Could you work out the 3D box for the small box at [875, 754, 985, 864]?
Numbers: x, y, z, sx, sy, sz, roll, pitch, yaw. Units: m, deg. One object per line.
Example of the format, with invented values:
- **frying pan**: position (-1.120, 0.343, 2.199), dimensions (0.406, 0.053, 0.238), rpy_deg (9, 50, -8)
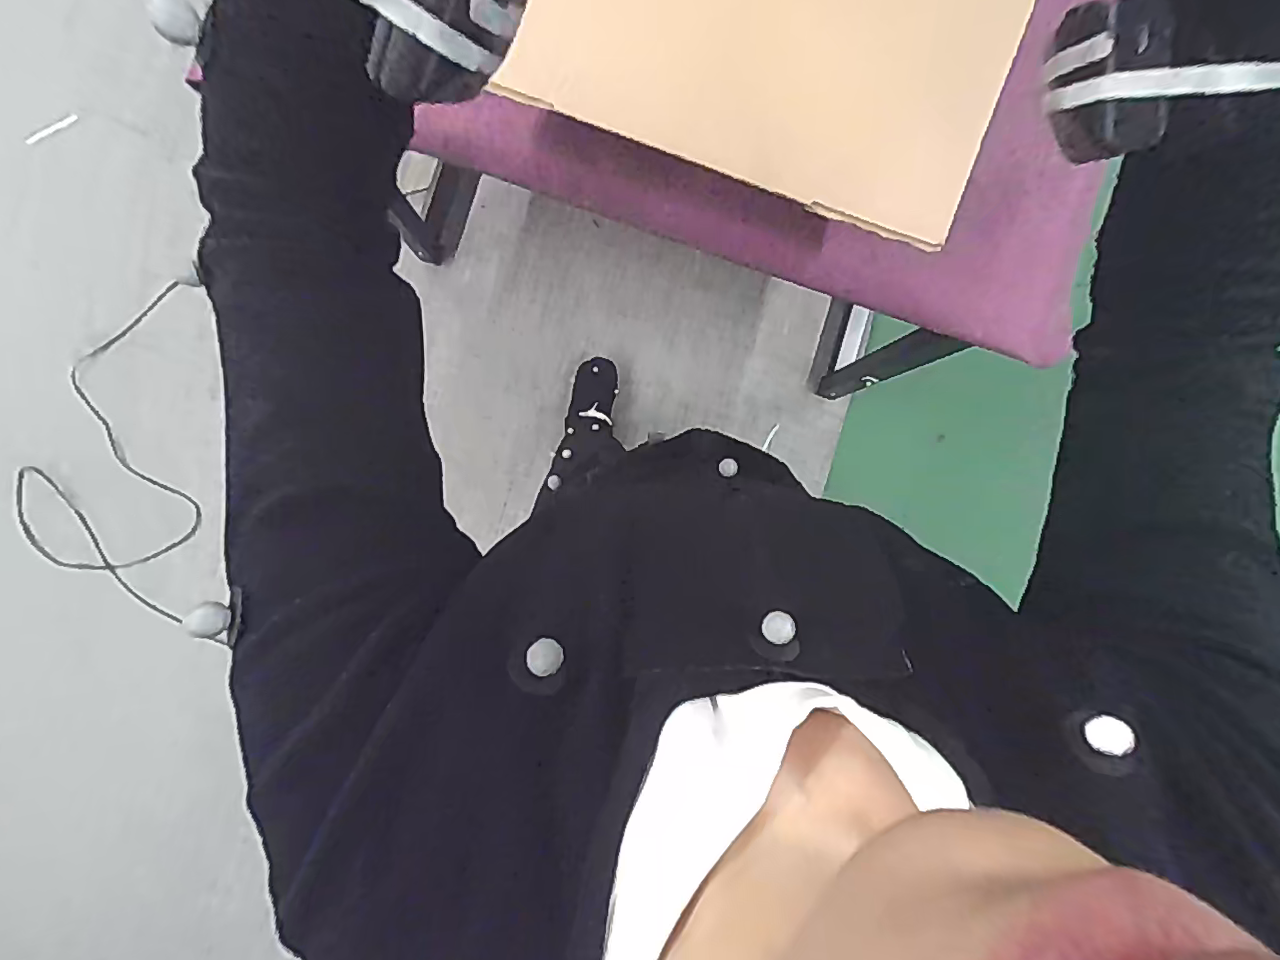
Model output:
- **small box**: position (0.753, 0.854, 1.424), dimensions (0.179, 0.176, 0.168), rpy_deg (17, 89, -2)
